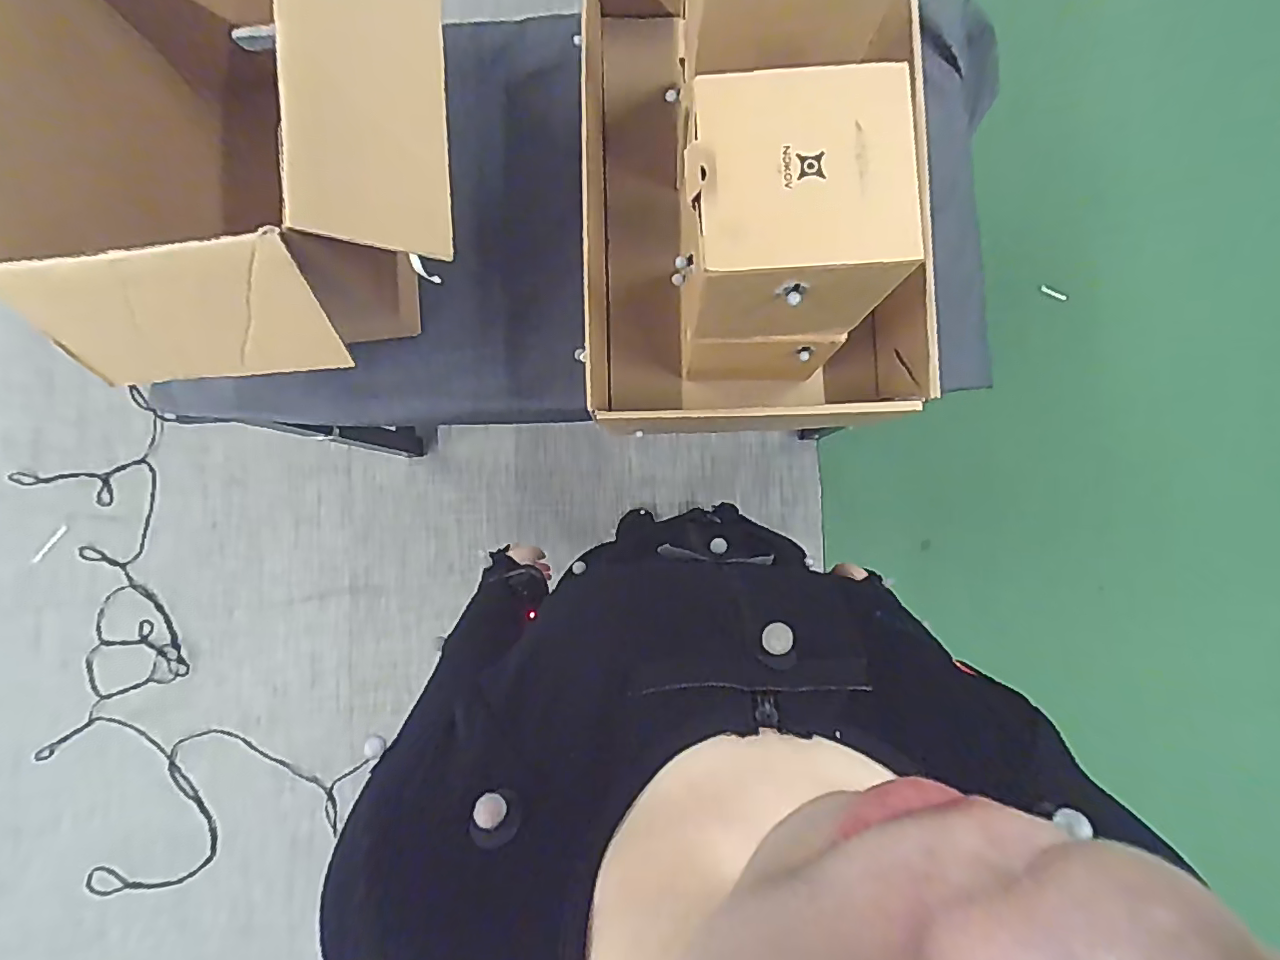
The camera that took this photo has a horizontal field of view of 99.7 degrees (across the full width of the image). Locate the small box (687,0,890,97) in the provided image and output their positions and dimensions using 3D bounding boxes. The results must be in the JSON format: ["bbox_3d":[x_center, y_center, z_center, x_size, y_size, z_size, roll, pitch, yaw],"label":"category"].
[{"bbox_3d":[0.133,-0.493,0.525,0.168,0.176,0.179,-1,89,2],"label":"small box"}]

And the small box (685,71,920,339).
[{"bbox_3d":[0.134,-0.240,0.513,0.179,0.176,0.168,-3,86,1],"label":"small box"}]
